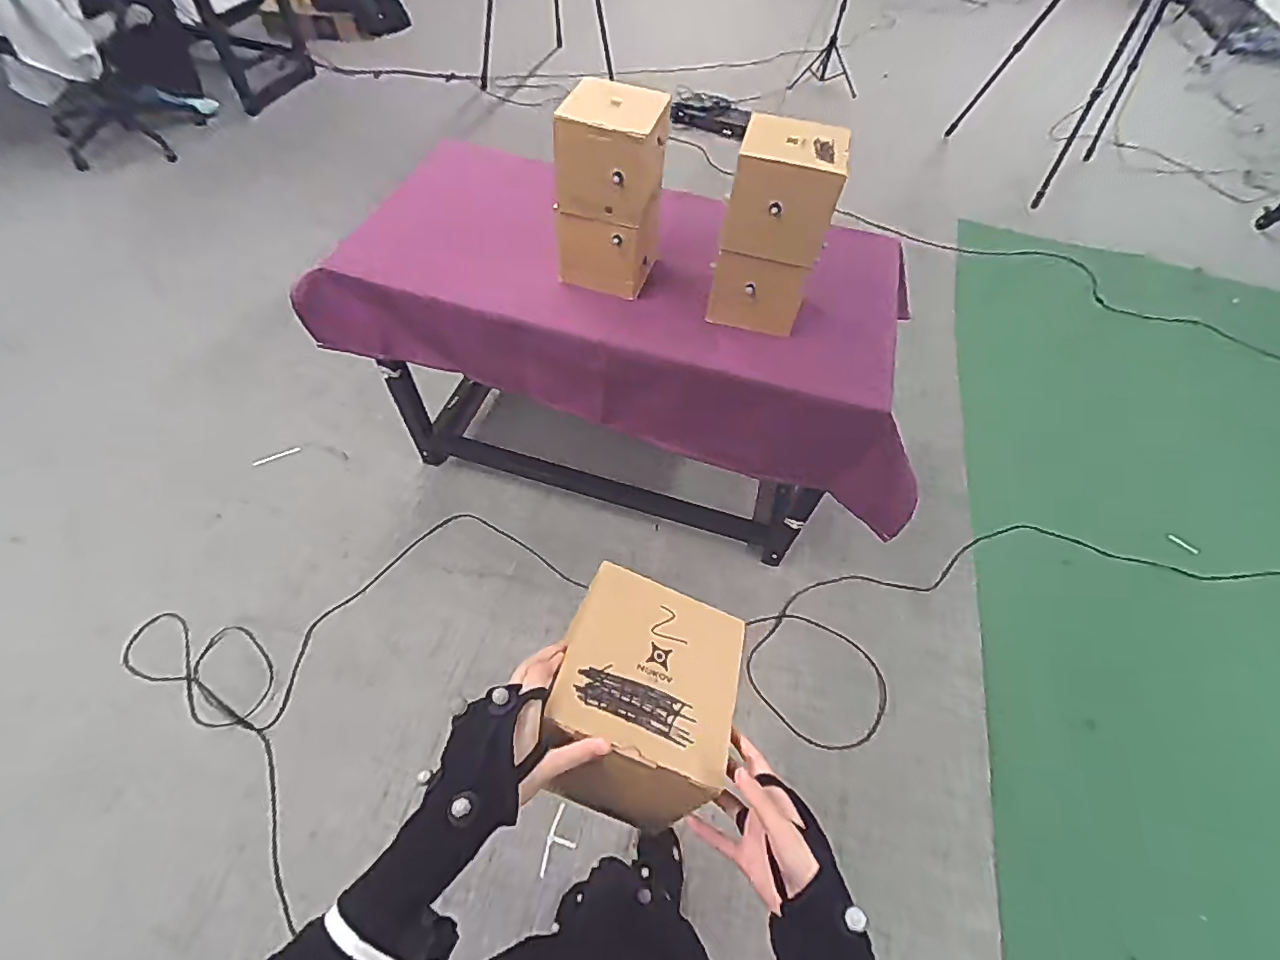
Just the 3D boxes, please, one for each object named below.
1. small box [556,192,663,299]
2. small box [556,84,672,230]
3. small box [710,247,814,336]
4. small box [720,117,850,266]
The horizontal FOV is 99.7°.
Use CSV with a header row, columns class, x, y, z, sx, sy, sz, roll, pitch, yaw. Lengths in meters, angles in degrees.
class,x,y,z,sx,sy,sz,roll,pitch,yaw
small box,-0.064,-0.511,1.148,0.179,0.176,0.168,17,56,6
small box,-0.047,-0.600,1.014,0.168,0.176,0.179,16,55,5
small box,0.247,-0.418,1.103,0.179,0.176,0.168,13,56,6
small box,0.255,-0.509,0.966,0.179,0.176,0.168,14,55,6
